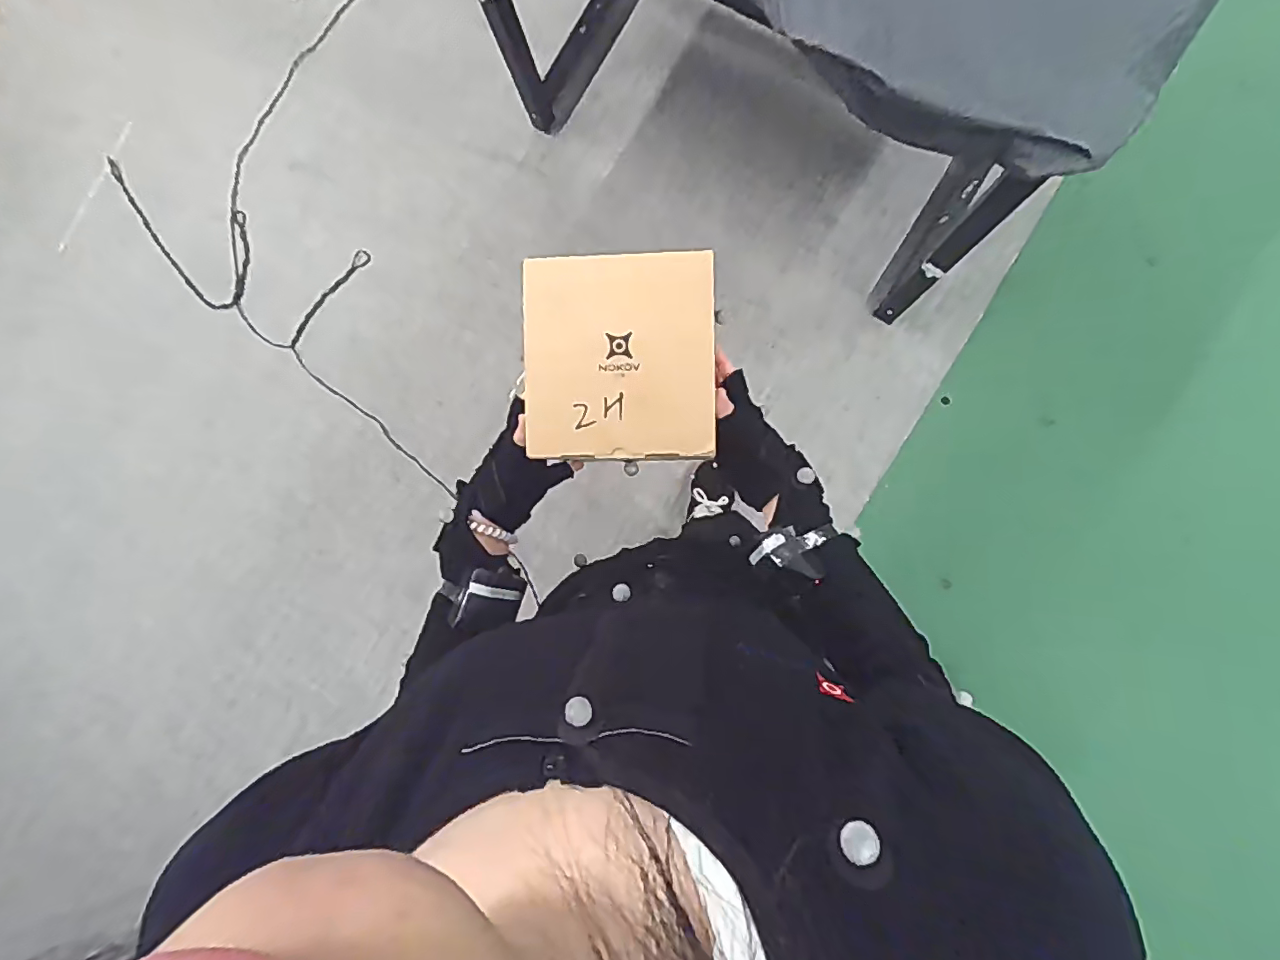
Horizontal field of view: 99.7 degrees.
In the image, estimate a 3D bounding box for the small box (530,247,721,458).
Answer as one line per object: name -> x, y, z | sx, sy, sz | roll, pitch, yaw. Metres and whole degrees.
small box -> -0.009, -0.112, 0.541 | 0.168, 0.176, 0.179 | -1, 92, 4
